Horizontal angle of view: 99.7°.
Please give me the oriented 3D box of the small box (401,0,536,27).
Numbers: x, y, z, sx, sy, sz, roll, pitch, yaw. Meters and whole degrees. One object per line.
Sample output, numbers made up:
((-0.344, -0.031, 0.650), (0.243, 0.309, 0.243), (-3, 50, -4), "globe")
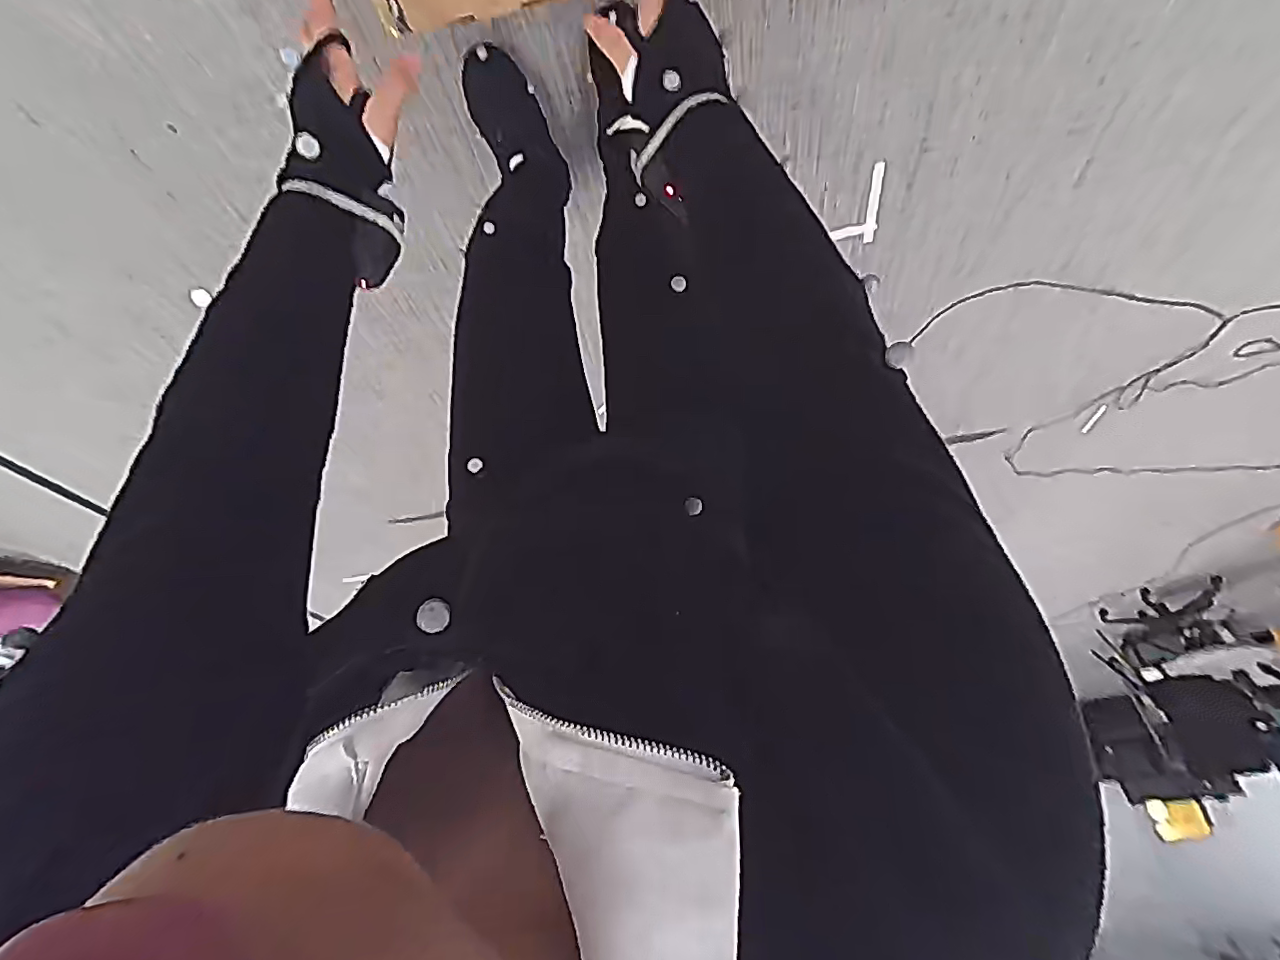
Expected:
((-0.151, -0.542, 0.468), (0.168, 0.176, 0.179), (-9, 145, 5), "small box")
